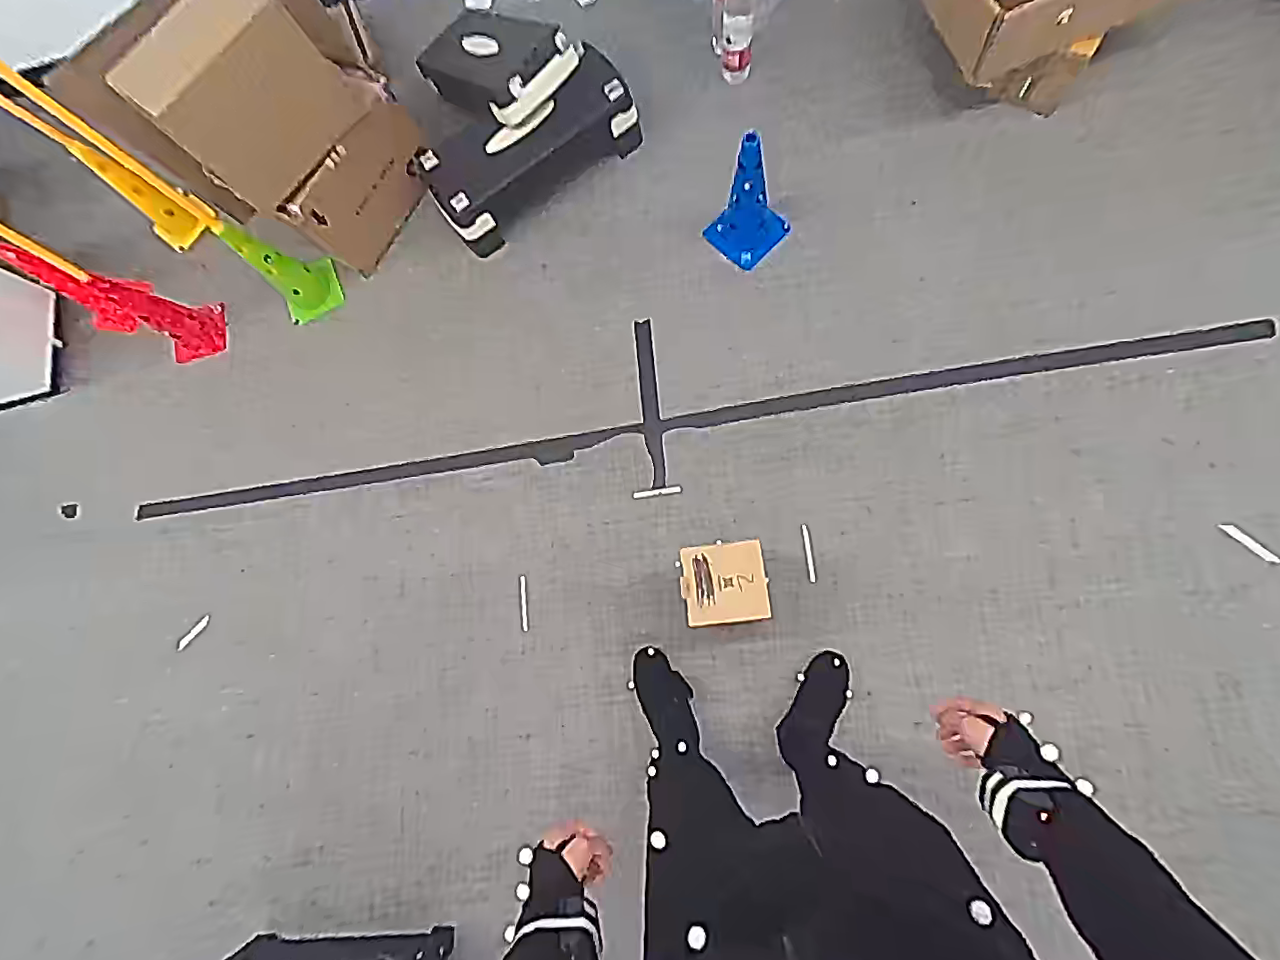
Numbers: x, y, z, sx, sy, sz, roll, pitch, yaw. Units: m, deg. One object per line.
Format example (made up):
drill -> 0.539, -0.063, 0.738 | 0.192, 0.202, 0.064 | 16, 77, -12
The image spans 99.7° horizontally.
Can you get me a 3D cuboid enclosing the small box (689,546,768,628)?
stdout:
small box -> 0.225, 0.270, 1.373 | 0.168, 0.176, 0.179 | -12, 77, 7
